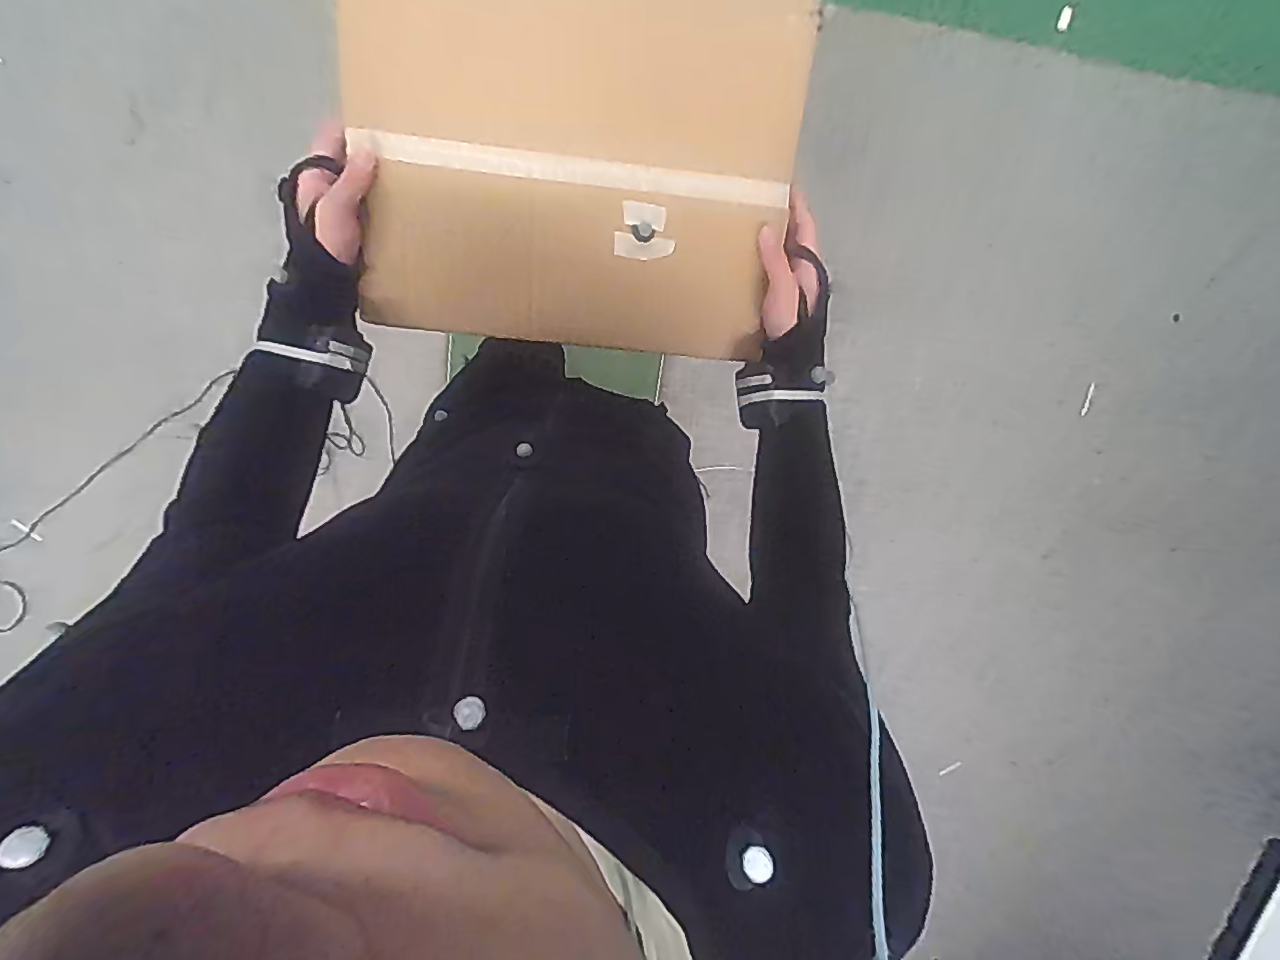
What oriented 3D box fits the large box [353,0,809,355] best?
[{"bbox_3d":[-0.070,-0.337,0.653,0.408,0.320,0.320,4,109,-6],"label":"large box"}]
